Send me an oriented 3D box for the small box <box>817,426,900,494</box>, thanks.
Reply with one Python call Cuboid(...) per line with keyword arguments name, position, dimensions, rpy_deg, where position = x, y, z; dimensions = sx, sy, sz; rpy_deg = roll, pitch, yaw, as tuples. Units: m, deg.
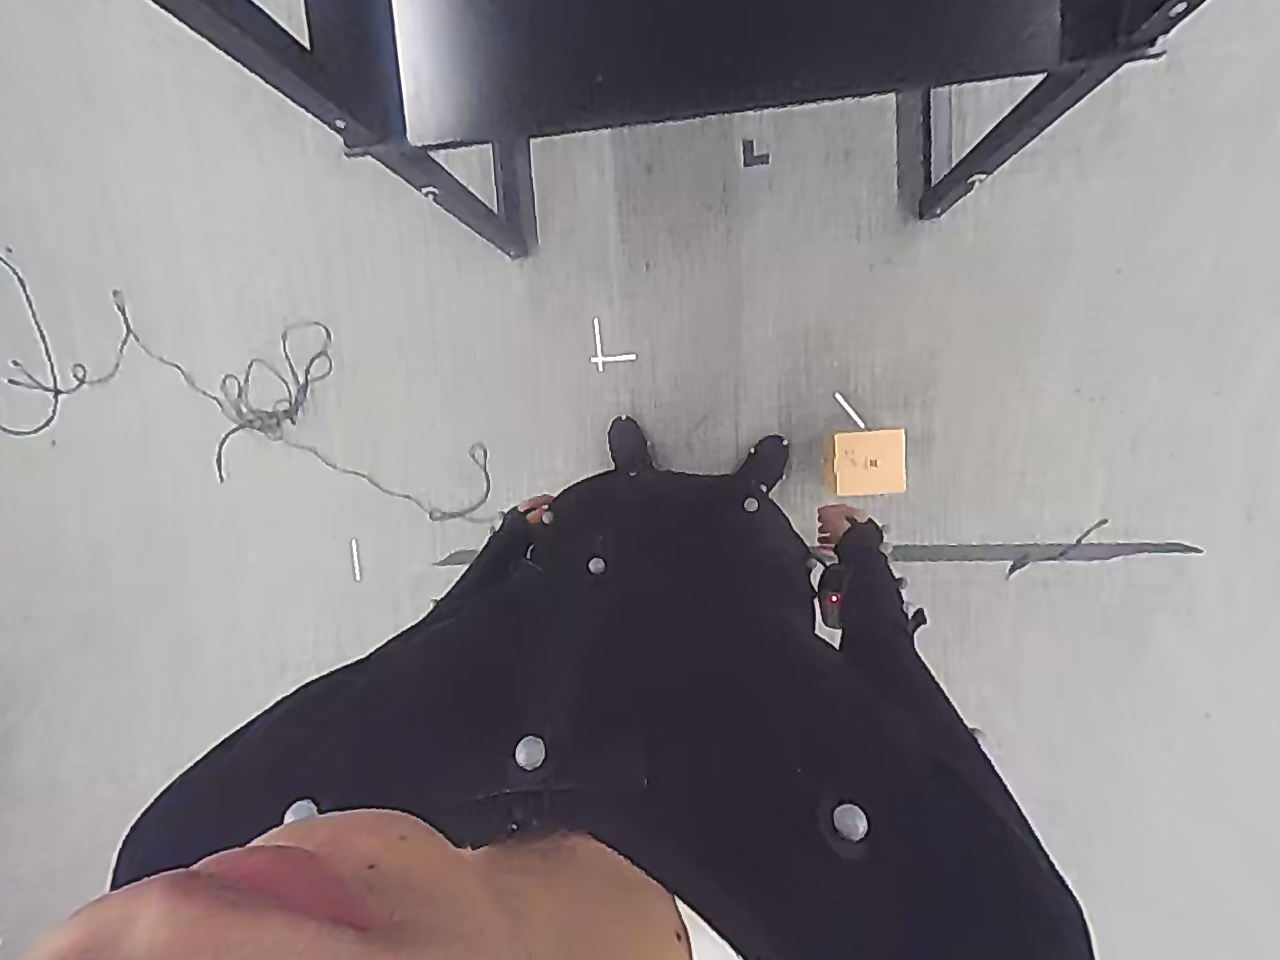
Cuboid(name="small box", position=(0.590, -0.059, 1.475), dimensions=(0.179, 0.176, 0.168), rpy_deg=(-3, 98, 8))
